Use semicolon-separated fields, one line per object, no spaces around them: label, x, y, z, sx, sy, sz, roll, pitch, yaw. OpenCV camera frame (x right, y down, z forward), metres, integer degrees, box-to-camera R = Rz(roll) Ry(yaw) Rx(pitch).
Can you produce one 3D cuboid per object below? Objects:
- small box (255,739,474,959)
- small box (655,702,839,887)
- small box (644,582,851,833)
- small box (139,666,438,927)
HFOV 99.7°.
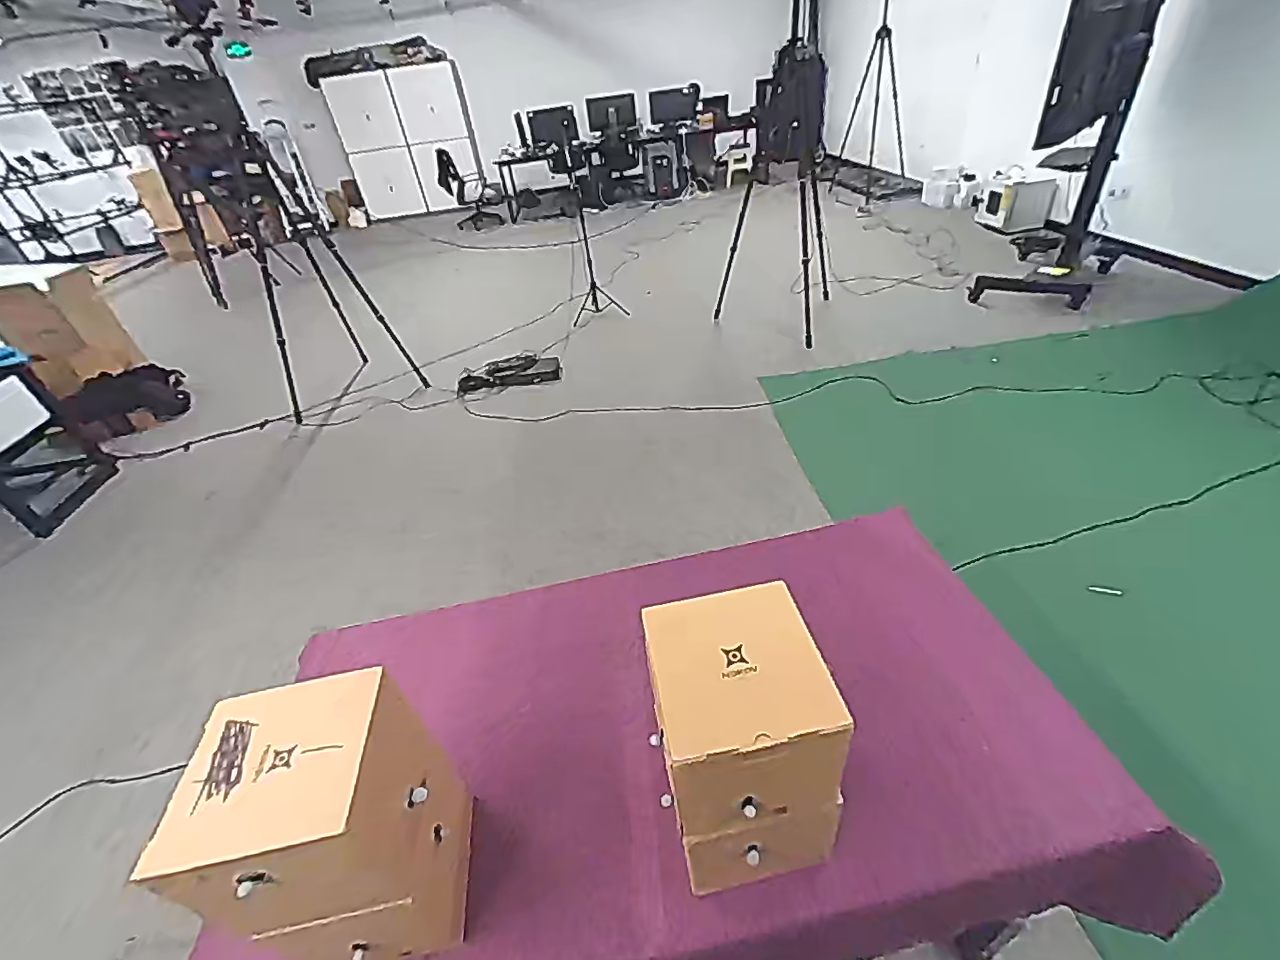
small box;-0.312;0.456;0.661;0.168;0.176;0.179;-11;37;-3
small box;0.127;0.374;0.677;0.179;0.176;0.168;-13;37;-3
small box;0.103;0.242;0.584;0.168;0.176;0.179;-11;38;-3
small box;-0.333;0.326;0.561;0.179;0.176;0.168;-11;37;-4
